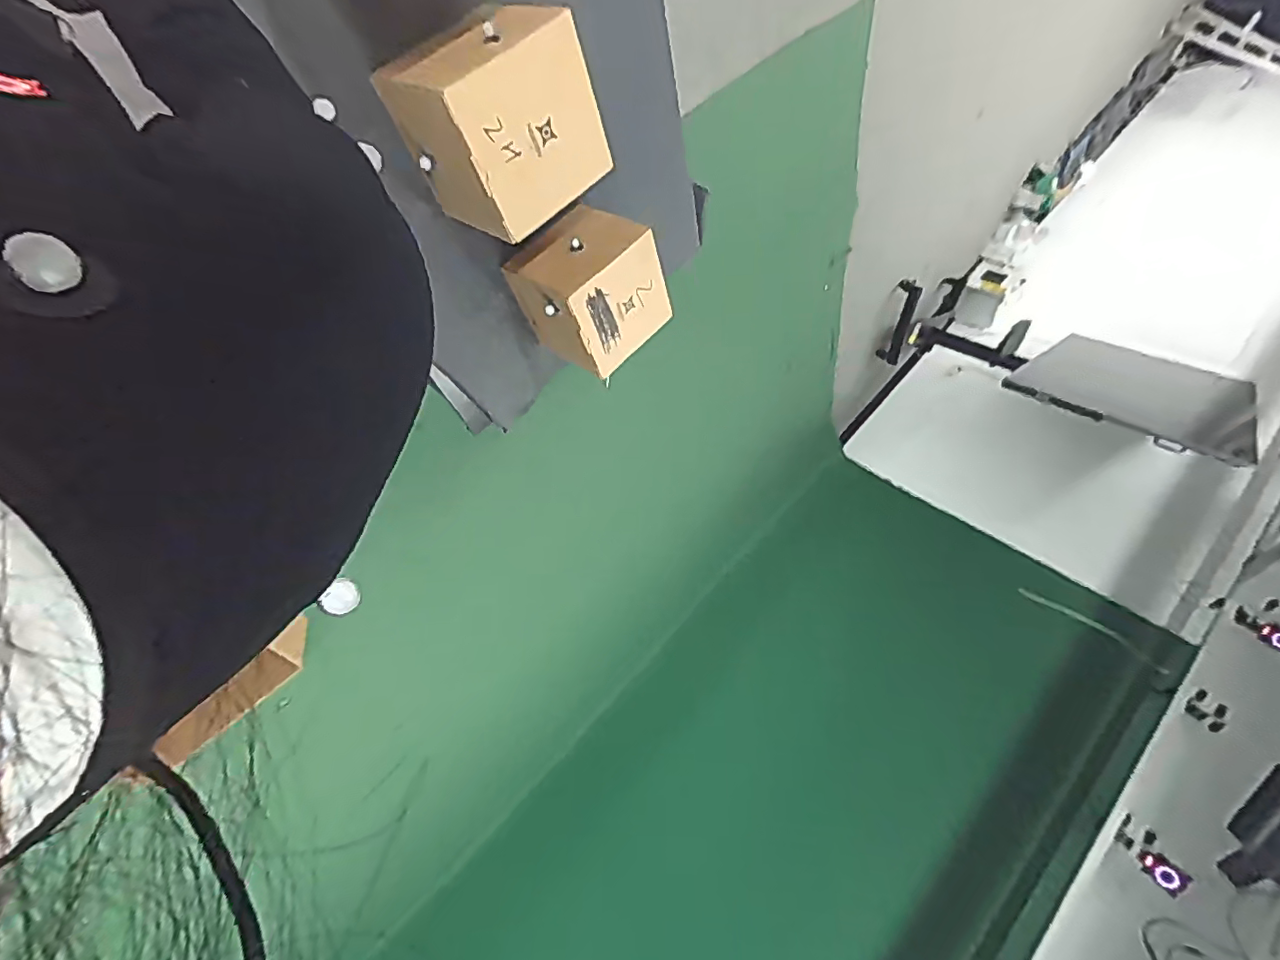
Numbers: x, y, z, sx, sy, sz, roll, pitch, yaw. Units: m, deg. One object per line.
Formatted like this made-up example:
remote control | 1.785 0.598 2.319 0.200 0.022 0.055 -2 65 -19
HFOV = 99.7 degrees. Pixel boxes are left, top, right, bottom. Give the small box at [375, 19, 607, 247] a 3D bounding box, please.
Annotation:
small box | -0.173 -0.420 0.649 0.179 0.176 0.168 -46 147 -15
